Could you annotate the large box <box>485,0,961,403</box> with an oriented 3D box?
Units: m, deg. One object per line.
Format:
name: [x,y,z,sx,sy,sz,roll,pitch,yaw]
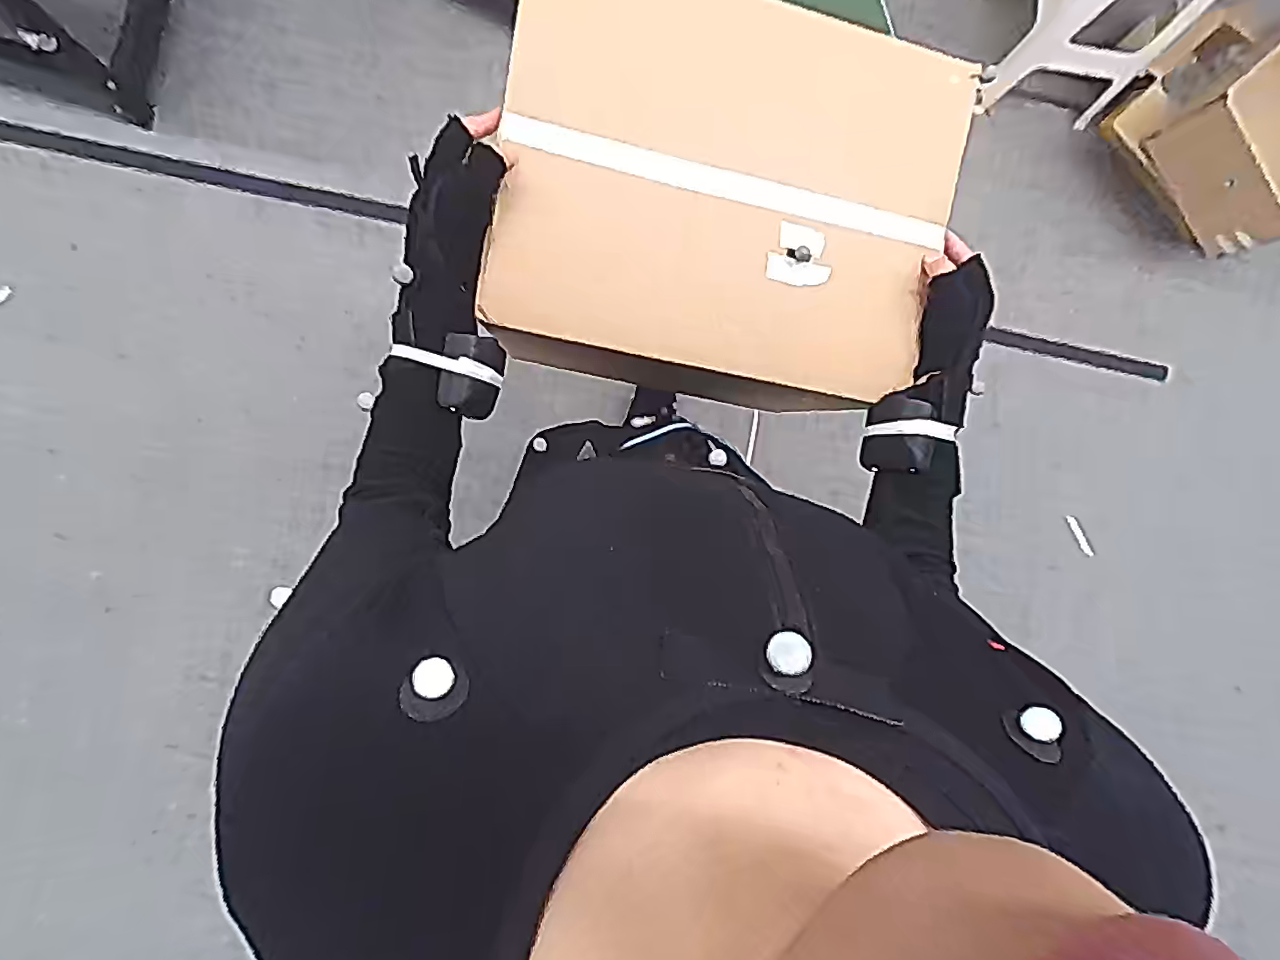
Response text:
large box: [0.058,-0.277,0.628,0.408,0.320,0.320,10,96,-10]
